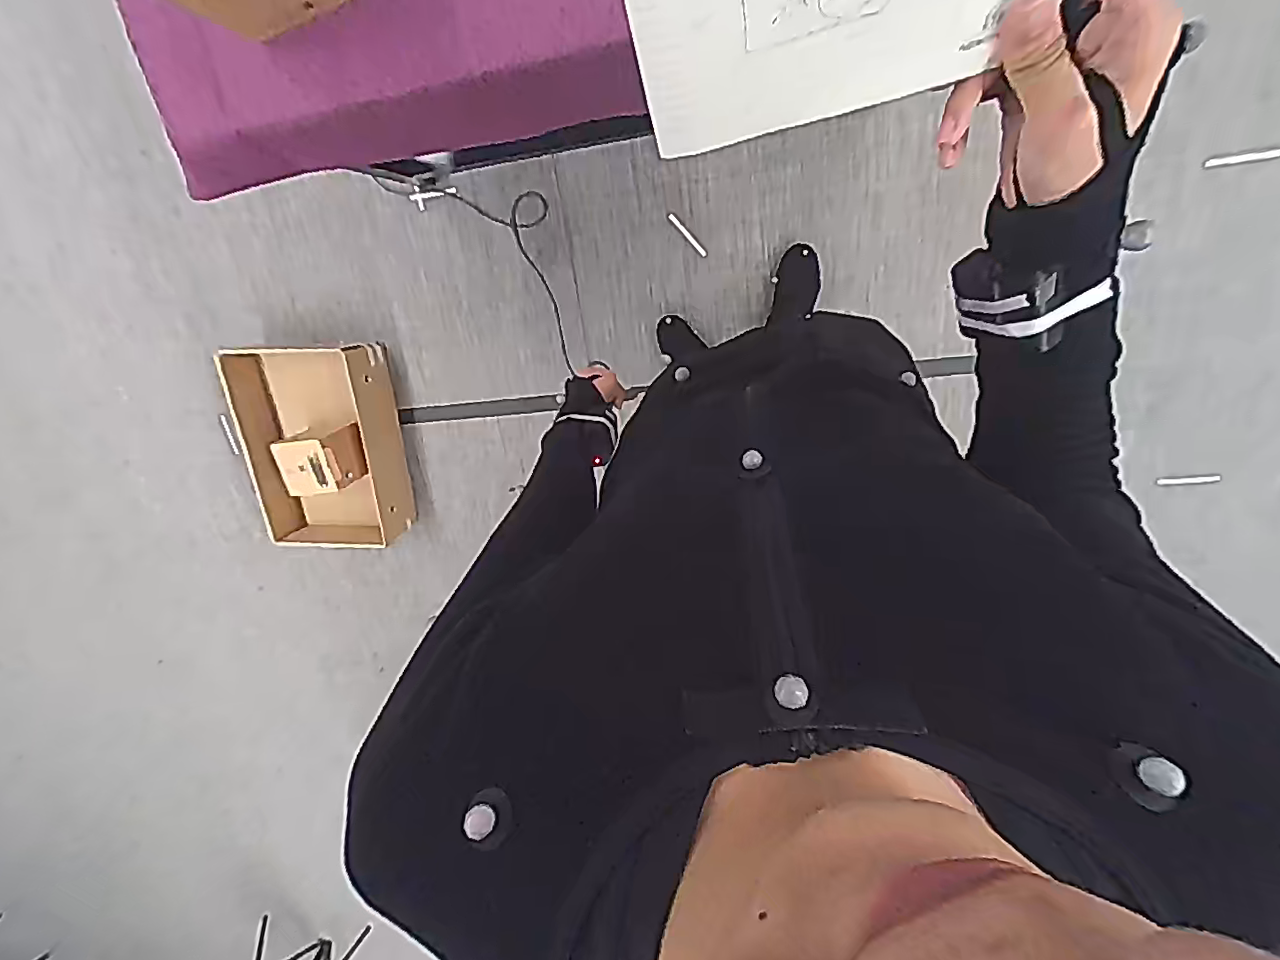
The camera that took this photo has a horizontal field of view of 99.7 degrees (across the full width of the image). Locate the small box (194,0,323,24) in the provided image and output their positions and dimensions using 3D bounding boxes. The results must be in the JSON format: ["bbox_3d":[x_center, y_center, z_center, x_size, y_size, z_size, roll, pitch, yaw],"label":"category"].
[{"bbox_3d":[-0.475,-0.666,0.615,0.168,0.176,0.179,-12,109,11],"label":"small box"}]
